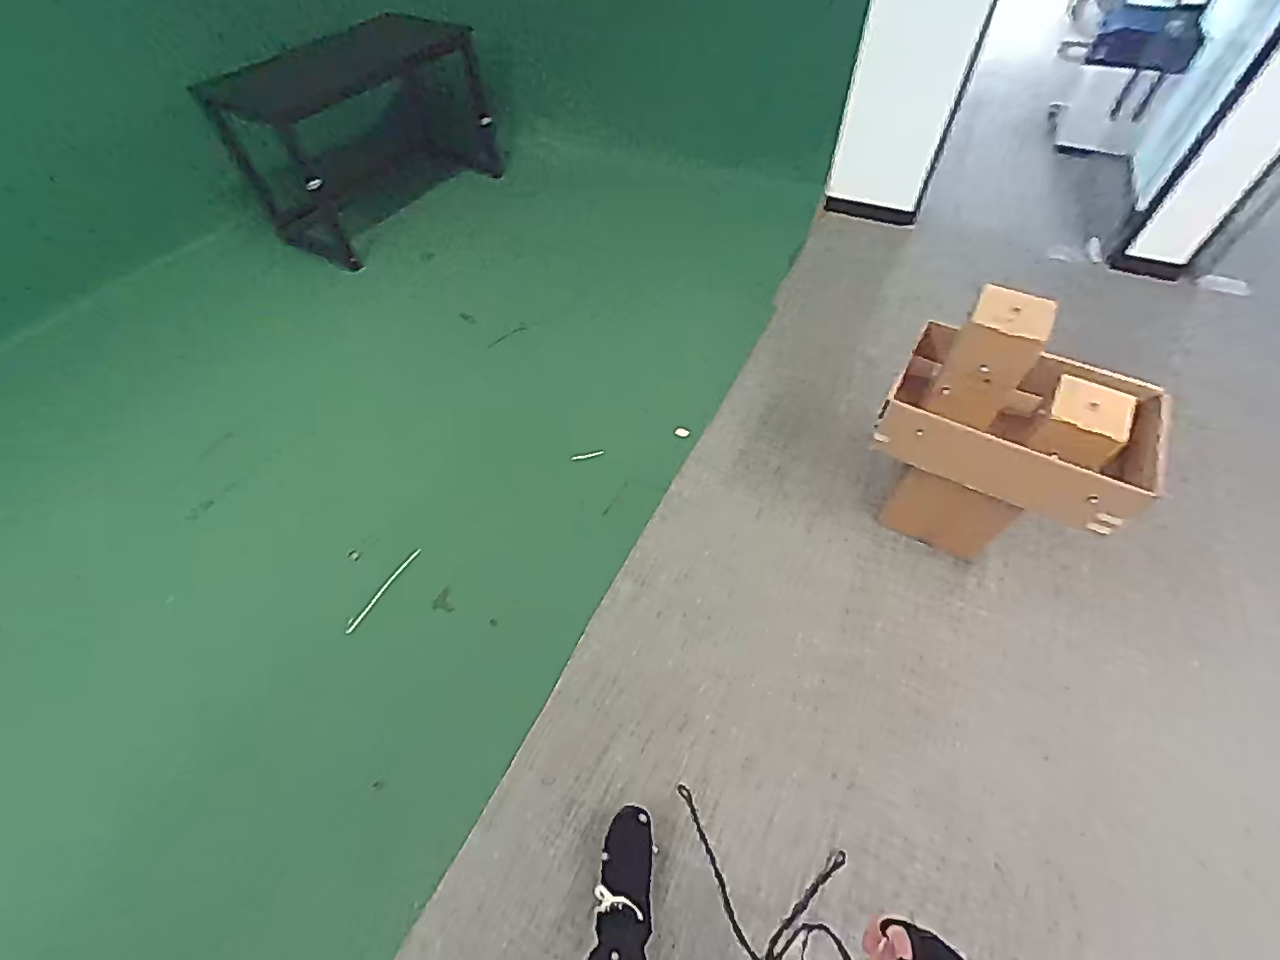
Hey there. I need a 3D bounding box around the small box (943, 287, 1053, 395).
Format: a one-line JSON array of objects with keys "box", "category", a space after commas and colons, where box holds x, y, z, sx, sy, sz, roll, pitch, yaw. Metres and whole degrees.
[{"box": [0.893, -0.347, 1.360, 0.168, 0.176, 0.179, 25, 58, 20], "category": "small box"}]

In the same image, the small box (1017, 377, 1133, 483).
[{"box": [1.113, -0.127, 1.393, 0.168, 0.176, 0.179, 26, 60, 21], "category": "small box"}]
